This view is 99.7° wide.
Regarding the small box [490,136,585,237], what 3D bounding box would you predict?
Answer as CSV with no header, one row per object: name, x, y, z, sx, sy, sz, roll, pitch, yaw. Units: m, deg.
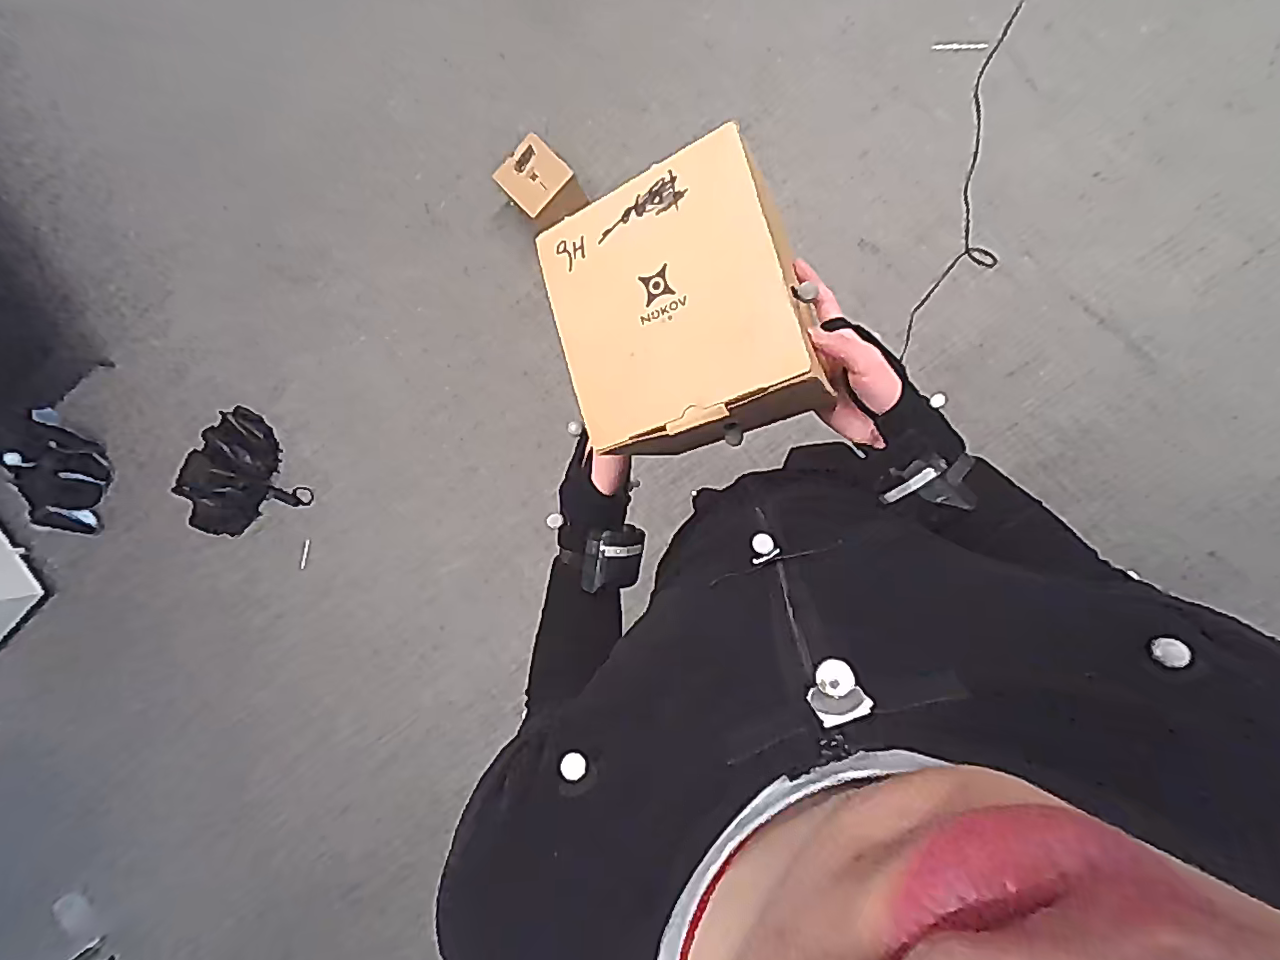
small box,-0.287,-0.824,1.551,0.168,0.176,0.179,-44,84,8

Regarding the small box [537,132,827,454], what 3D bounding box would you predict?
small box,0.047,-0.128,0.449,0.168,0.176,0.179,-17,86,23
